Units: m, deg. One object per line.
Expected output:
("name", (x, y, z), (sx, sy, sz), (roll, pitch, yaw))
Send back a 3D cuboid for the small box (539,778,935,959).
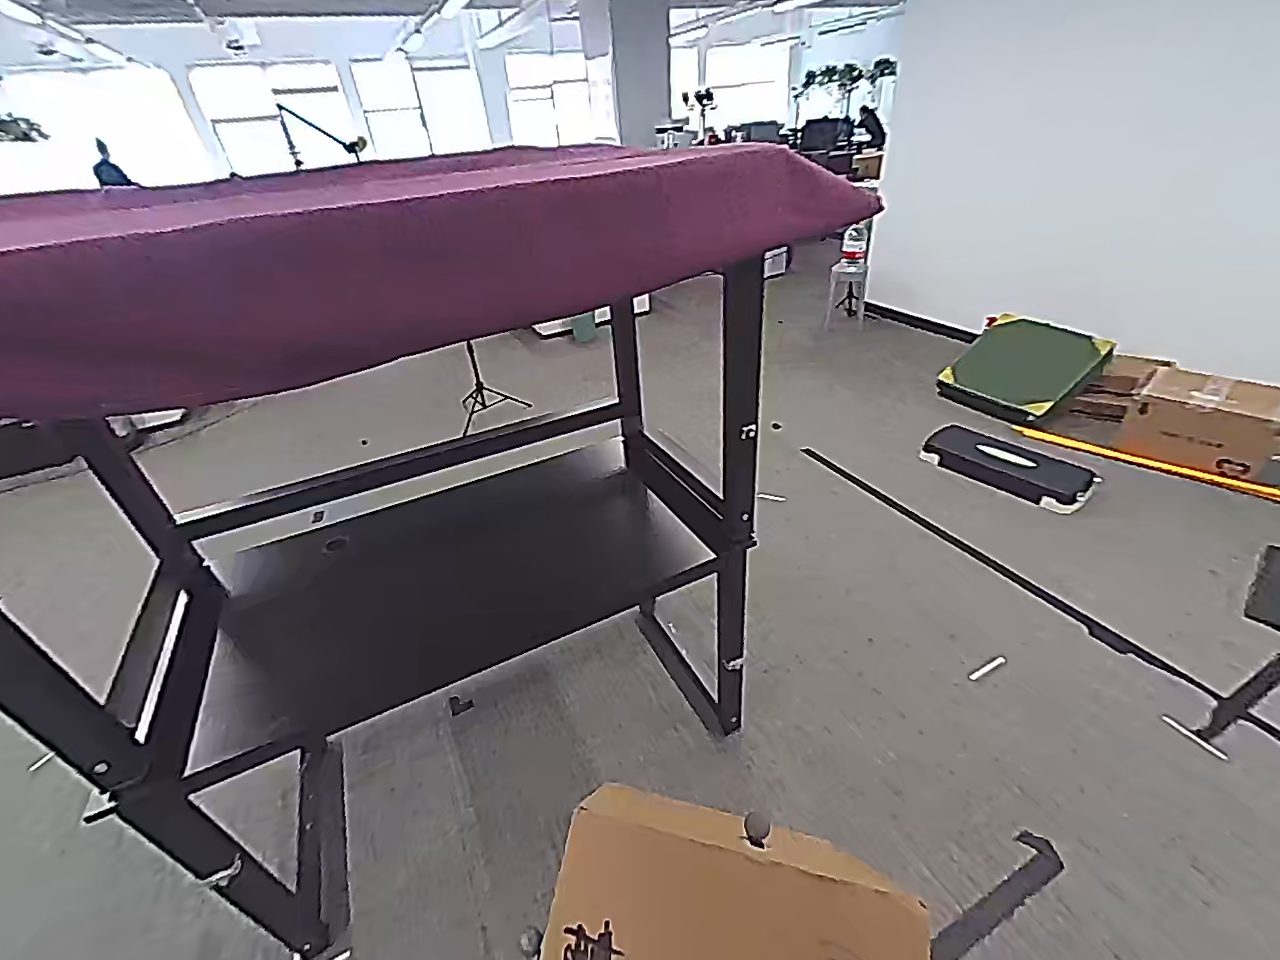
("small box", (0.036, 0.279, 0.302), (0.179, 0.176, 0.168), (12, 65, 7))
